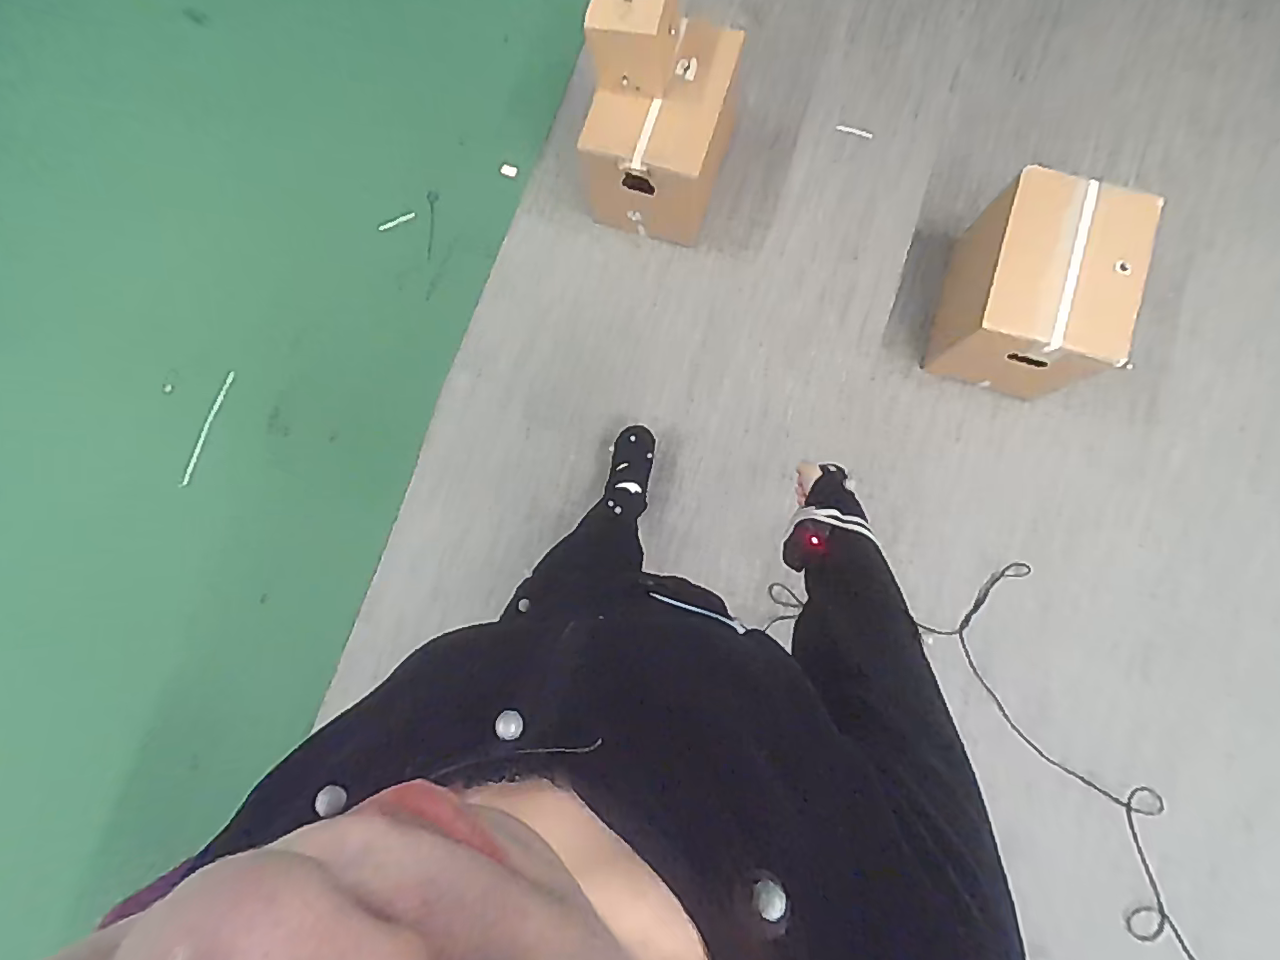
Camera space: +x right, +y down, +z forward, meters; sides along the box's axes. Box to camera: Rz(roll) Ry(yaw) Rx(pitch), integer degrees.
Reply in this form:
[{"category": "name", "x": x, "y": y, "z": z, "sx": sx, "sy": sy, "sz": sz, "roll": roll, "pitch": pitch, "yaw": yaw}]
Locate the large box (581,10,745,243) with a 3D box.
[{"category": "large box", "x": 0.069, "y": -0.933, "z": 1.467, "sx": 0.320, "sy": 0.320, "sz": 0.408, "roll": 18, "pitch": 84, "yaw": 6}]
